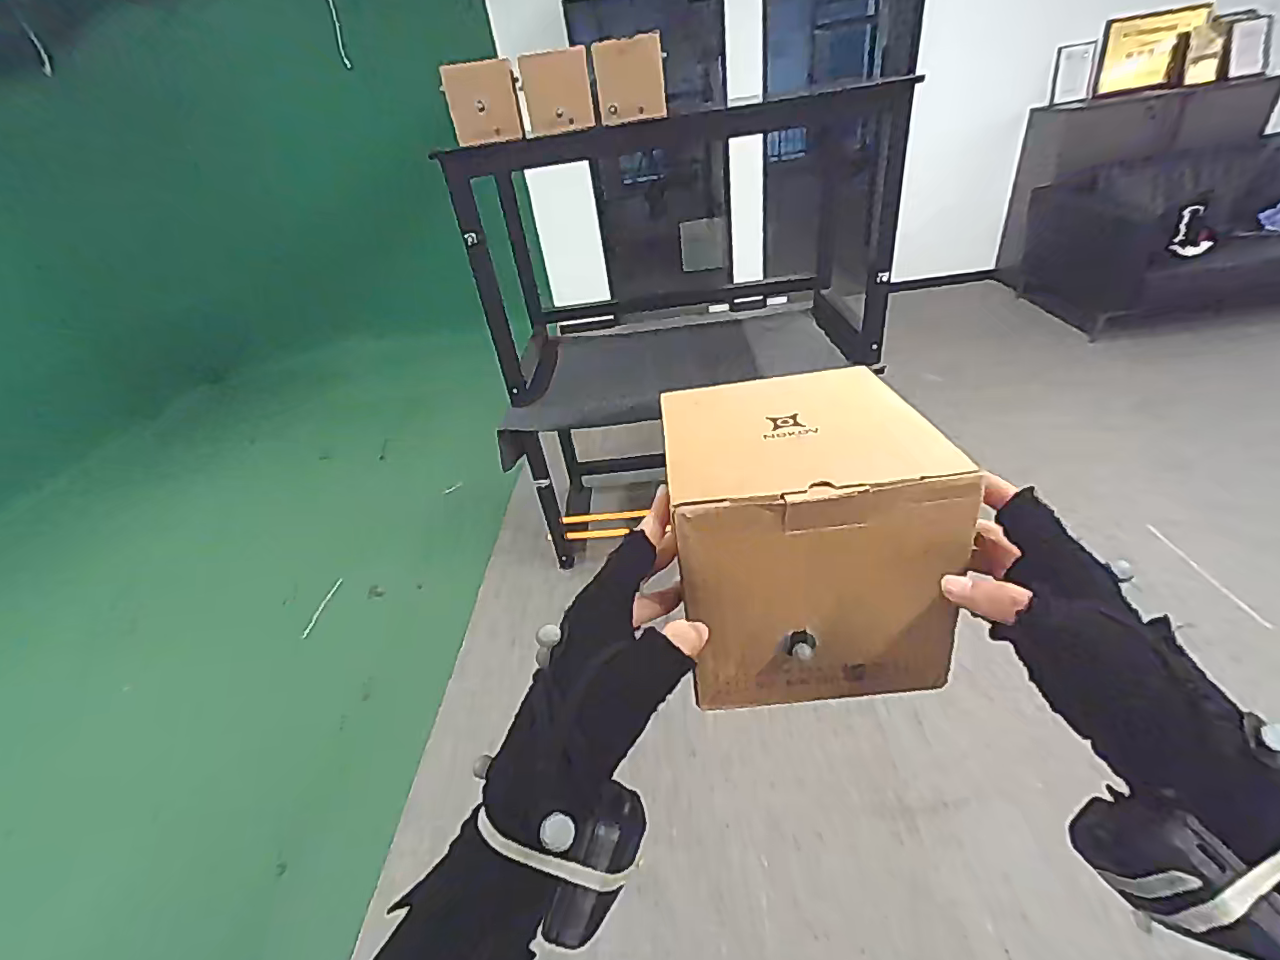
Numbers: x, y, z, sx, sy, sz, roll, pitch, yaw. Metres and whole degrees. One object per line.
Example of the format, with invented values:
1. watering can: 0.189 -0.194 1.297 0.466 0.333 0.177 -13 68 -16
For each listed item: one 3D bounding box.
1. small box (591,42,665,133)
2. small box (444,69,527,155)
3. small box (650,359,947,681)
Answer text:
1. small box: -0.024 -1.021 1.418 0.168 0.176 0.179 -5 34 6
2. small box: -0.403 -0.975 1.441 0.168 0.176 0.179 -9 33 -2
3. small box: 0.098 0.022 0.410 0.168 0.176 0.179 -7 29 4
